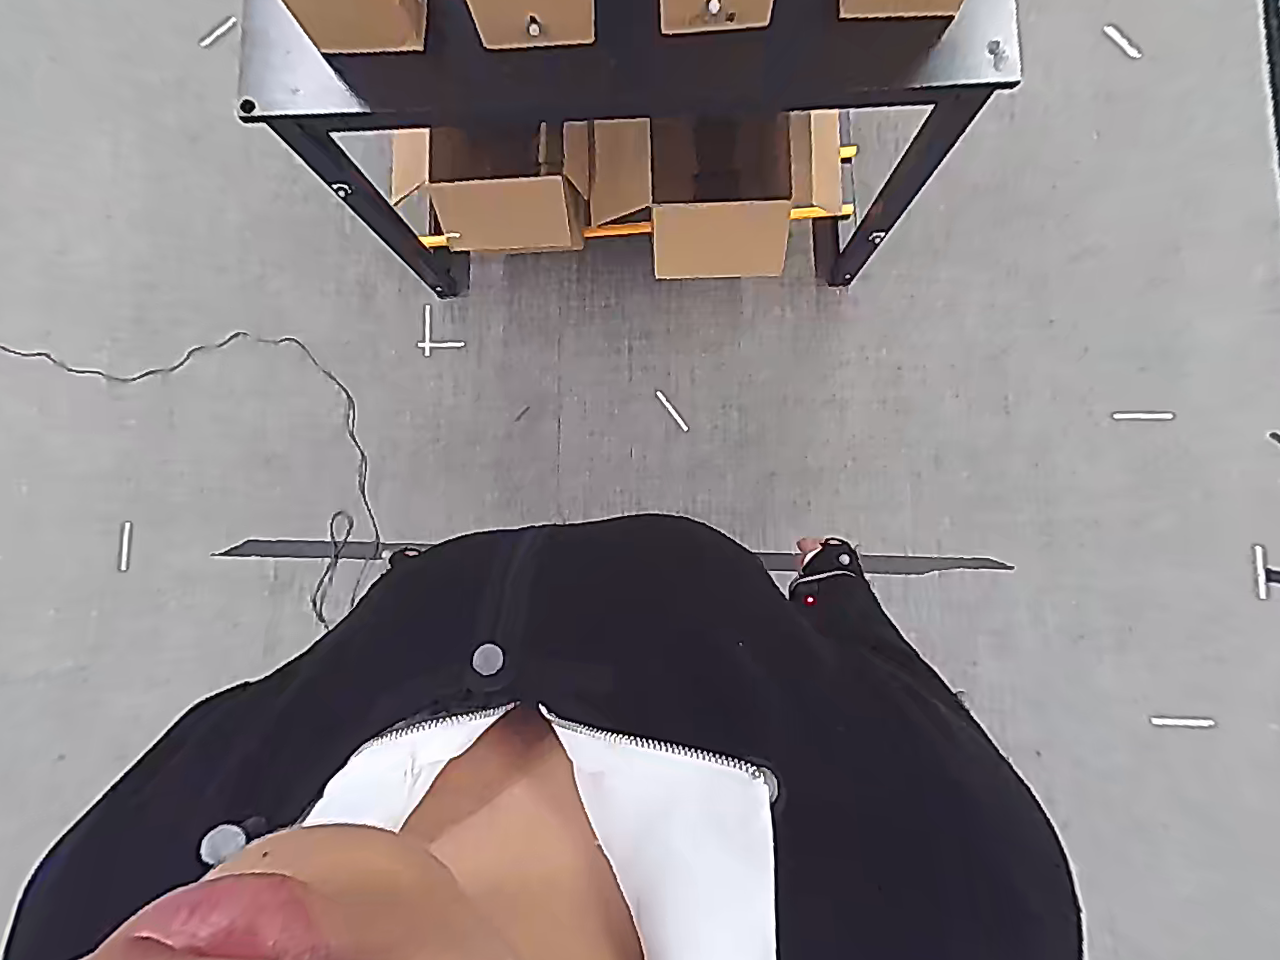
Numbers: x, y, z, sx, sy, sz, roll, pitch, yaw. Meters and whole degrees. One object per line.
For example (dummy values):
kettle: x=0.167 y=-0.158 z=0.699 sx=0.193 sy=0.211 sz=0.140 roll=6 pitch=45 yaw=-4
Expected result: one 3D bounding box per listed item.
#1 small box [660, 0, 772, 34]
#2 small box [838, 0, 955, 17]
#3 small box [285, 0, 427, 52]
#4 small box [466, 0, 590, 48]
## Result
small box: x=0.108 y=-0.781 z=0.756 sx=0.168 sy=0.176 sz=0.179 roll=-2 pitch=85 yaw=3
small box: x=0.387 y=-0.785 z=0.742 sx=0.179 sy=0.176 sz=0.168 roll=1 pitch=84 yaw=3
small box: x=-0.427 y=-0.761 z=0.778 sx=0.179 sy=0.176 sz=0.168 roll=0 pitch=86 yaw=1
small box: x=-0.163 y=-0.760 z=0.767 sx=0.179 sy=0.176 sz=0.168 roll=-2 pitch=85 yaw=2
